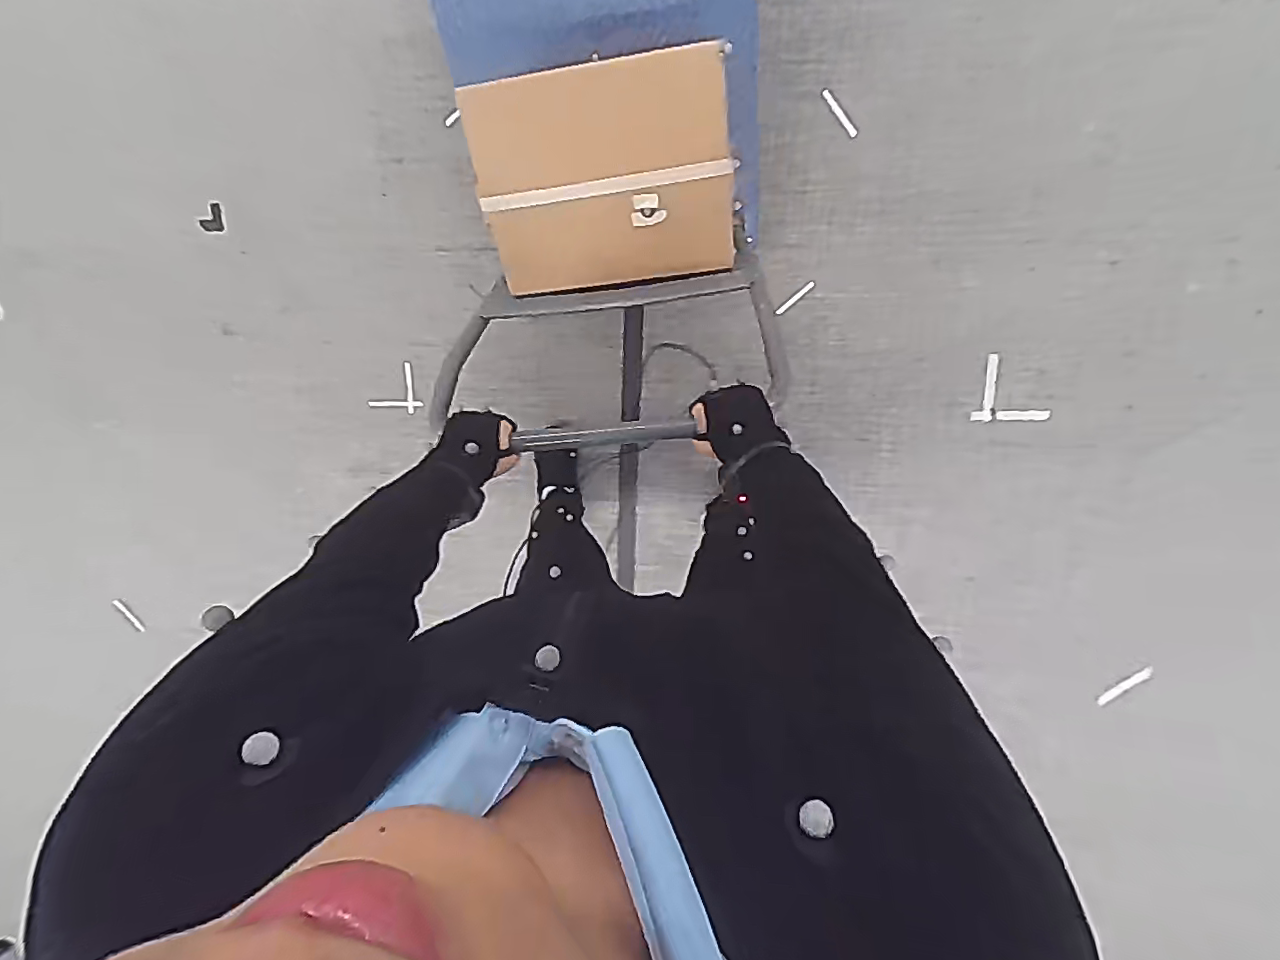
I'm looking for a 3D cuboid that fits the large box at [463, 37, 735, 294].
[{"bbox_3d":[-0.049,-0.573,1.003,0.408,0.320,0.320,-6,126,7],"label":"large box"}]
